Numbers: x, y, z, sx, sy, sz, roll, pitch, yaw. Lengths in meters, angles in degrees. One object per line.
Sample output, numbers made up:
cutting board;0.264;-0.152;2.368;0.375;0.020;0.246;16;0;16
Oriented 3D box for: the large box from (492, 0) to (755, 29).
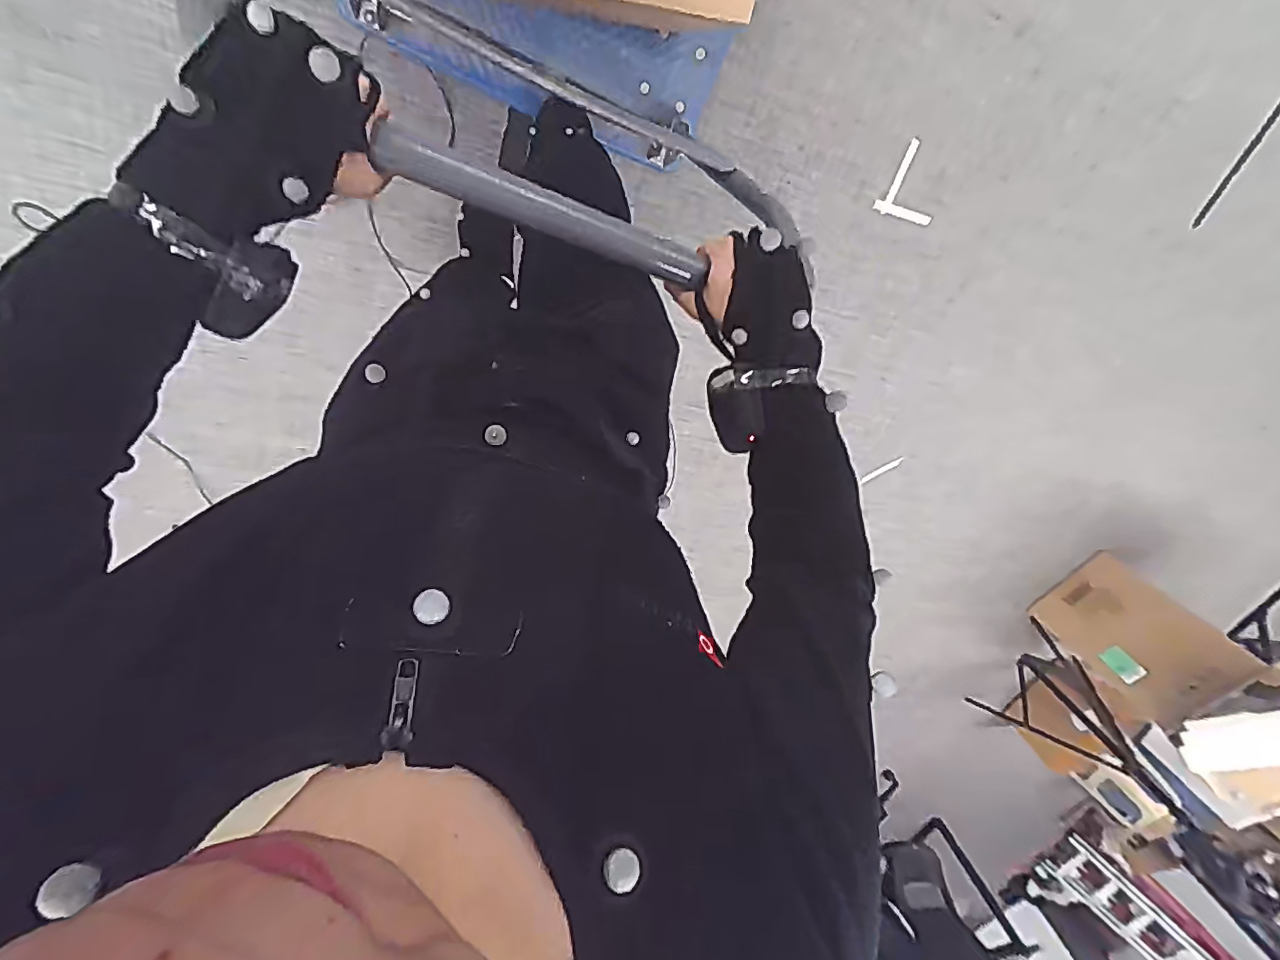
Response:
large box;-0.075;-0.758;0.633;0.408;0.320;0.320;-3;129;-15
